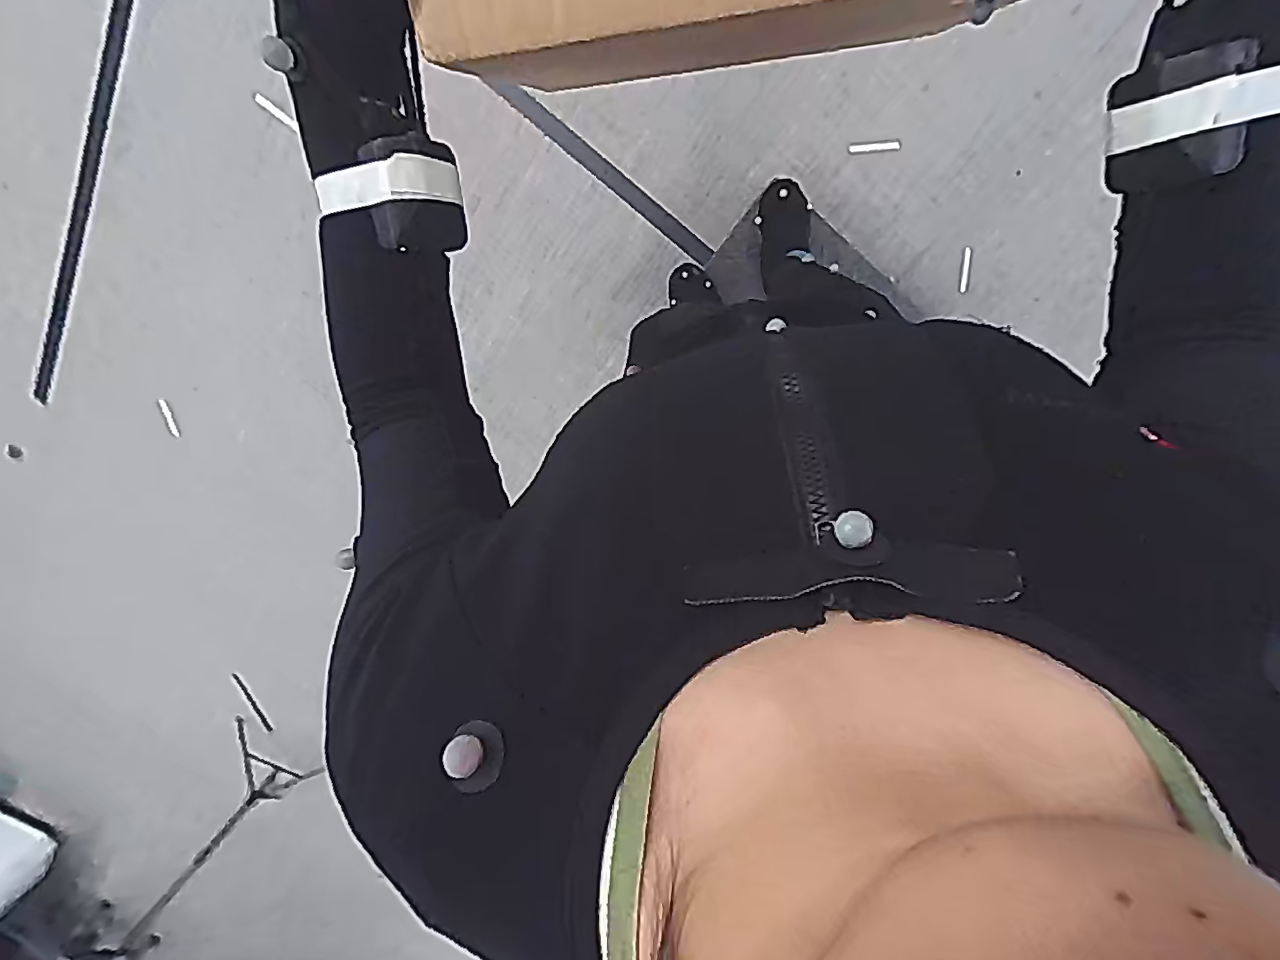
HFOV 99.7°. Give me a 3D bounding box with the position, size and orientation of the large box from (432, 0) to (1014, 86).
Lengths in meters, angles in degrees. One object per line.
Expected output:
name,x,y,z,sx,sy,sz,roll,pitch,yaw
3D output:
large box,0.073,-0.471,0.346,0.408,0.320,0.320,-3,122,6

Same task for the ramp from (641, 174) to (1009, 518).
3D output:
ramp,0.538,-0.294,1.492,0.991,0.206,0.509,34,112,-10
